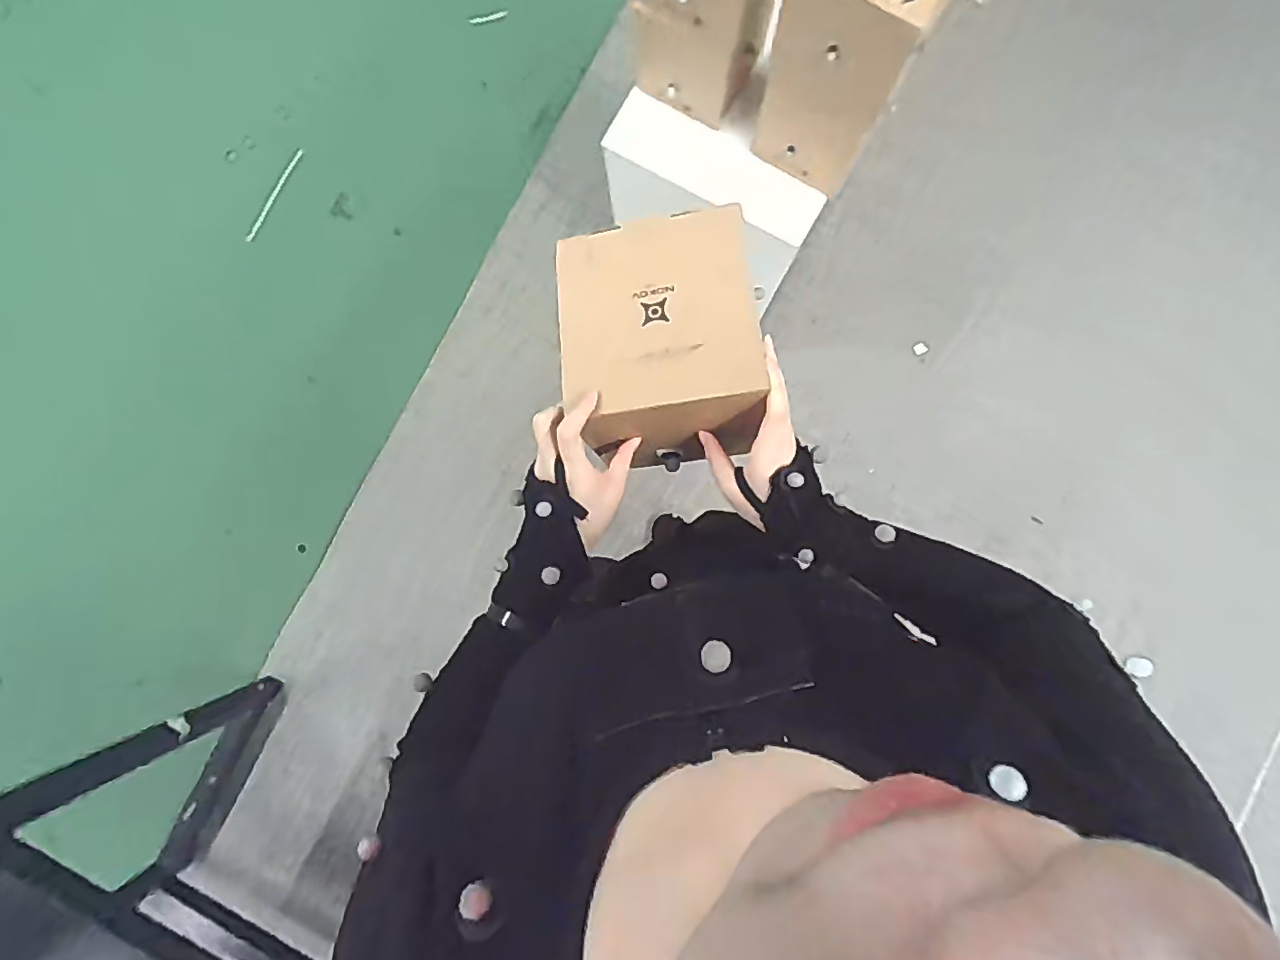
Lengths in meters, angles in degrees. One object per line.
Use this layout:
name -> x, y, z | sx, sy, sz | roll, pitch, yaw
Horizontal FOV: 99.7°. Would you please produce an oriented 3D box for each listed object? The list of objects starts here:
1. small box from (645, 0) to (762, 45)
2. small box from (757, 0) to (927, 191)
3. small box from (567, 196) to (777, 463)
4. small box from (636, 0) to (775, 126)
small box -> 0.106, -0.739, 0.705 | 0.168, 0.176, 0.179 | 31, 89, 3
small box -> 0.303, -0.610, 0.856 | 0.168, 0.176, 0.179 | 31, 89, 4
small box -> 0.035, -0.129, 0.522 | 0.168, 0.176, 0.179 | -7, 75, 11
small box -> 0.105, -0.730, 0.869 | 0.168, 0.176, 0.179 | 30, 89, 3
